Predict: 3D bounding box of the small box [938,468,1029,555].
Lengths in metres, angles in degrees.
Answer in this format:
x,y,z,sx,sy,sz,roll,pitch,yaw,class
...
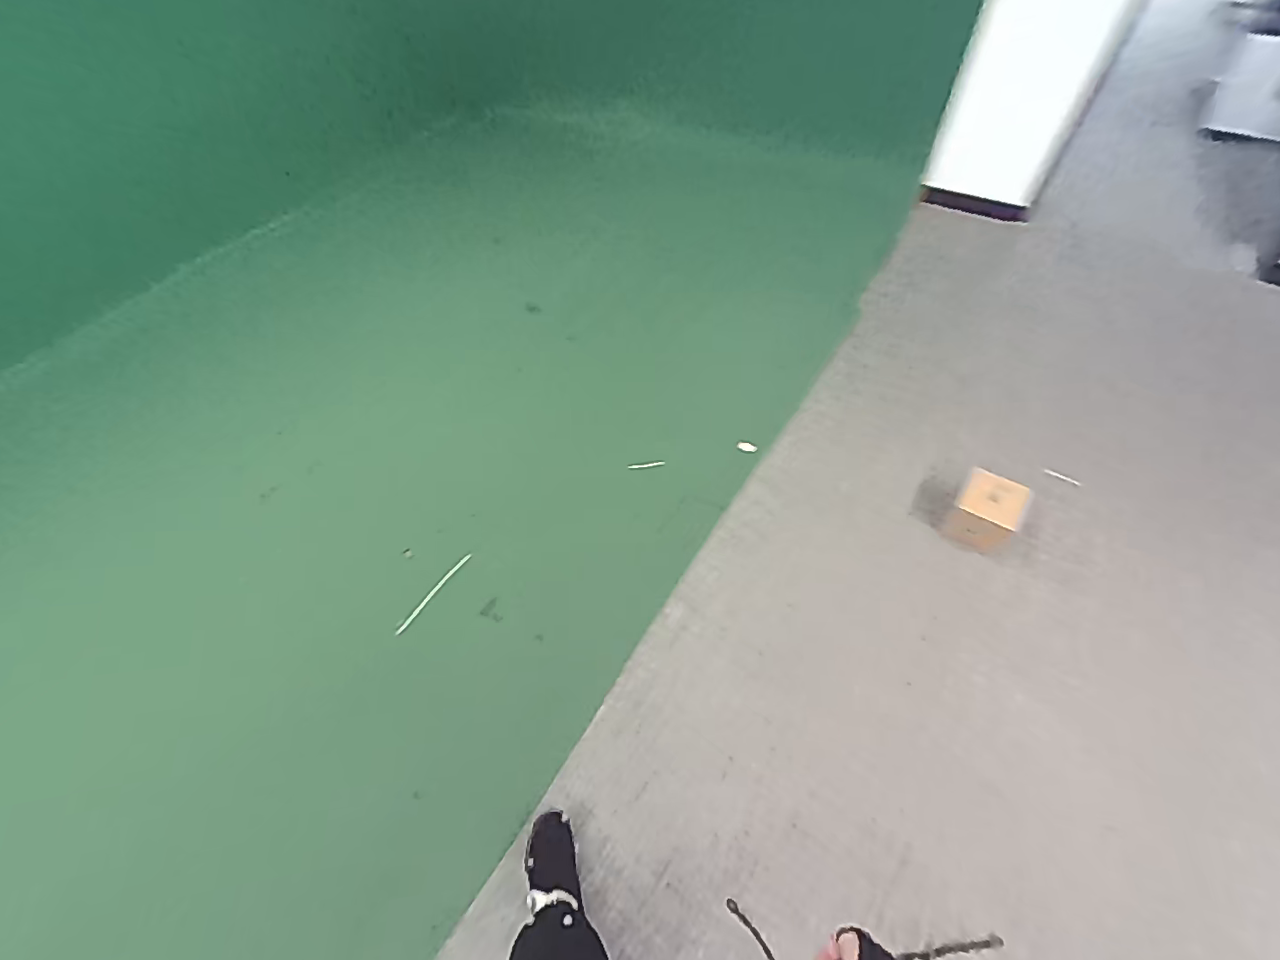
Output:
x,y,z,sx,sy,sz,roll,pitch,yaw,class
1.052,0.102,1.668,0.168,0.176,0.179,28,62,21,small box
